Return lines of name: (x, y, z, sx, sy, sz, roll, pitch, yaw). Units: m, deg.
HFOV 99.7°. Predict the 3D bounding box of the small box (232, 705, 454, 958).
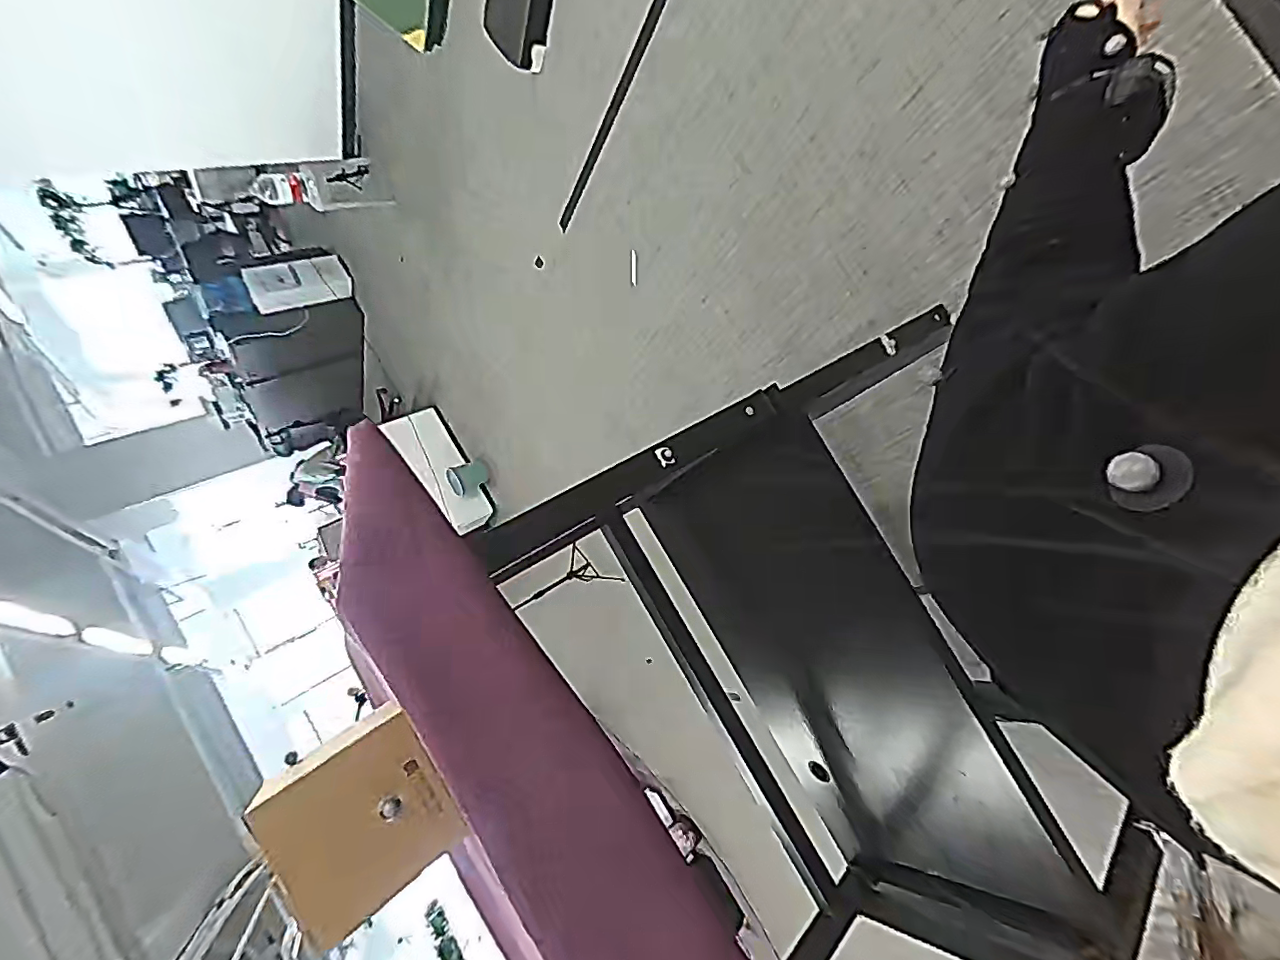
small box: (-0.346, 0.395, 0.651, 0.168, 0.176, 0.179, 60, 147, 0)
